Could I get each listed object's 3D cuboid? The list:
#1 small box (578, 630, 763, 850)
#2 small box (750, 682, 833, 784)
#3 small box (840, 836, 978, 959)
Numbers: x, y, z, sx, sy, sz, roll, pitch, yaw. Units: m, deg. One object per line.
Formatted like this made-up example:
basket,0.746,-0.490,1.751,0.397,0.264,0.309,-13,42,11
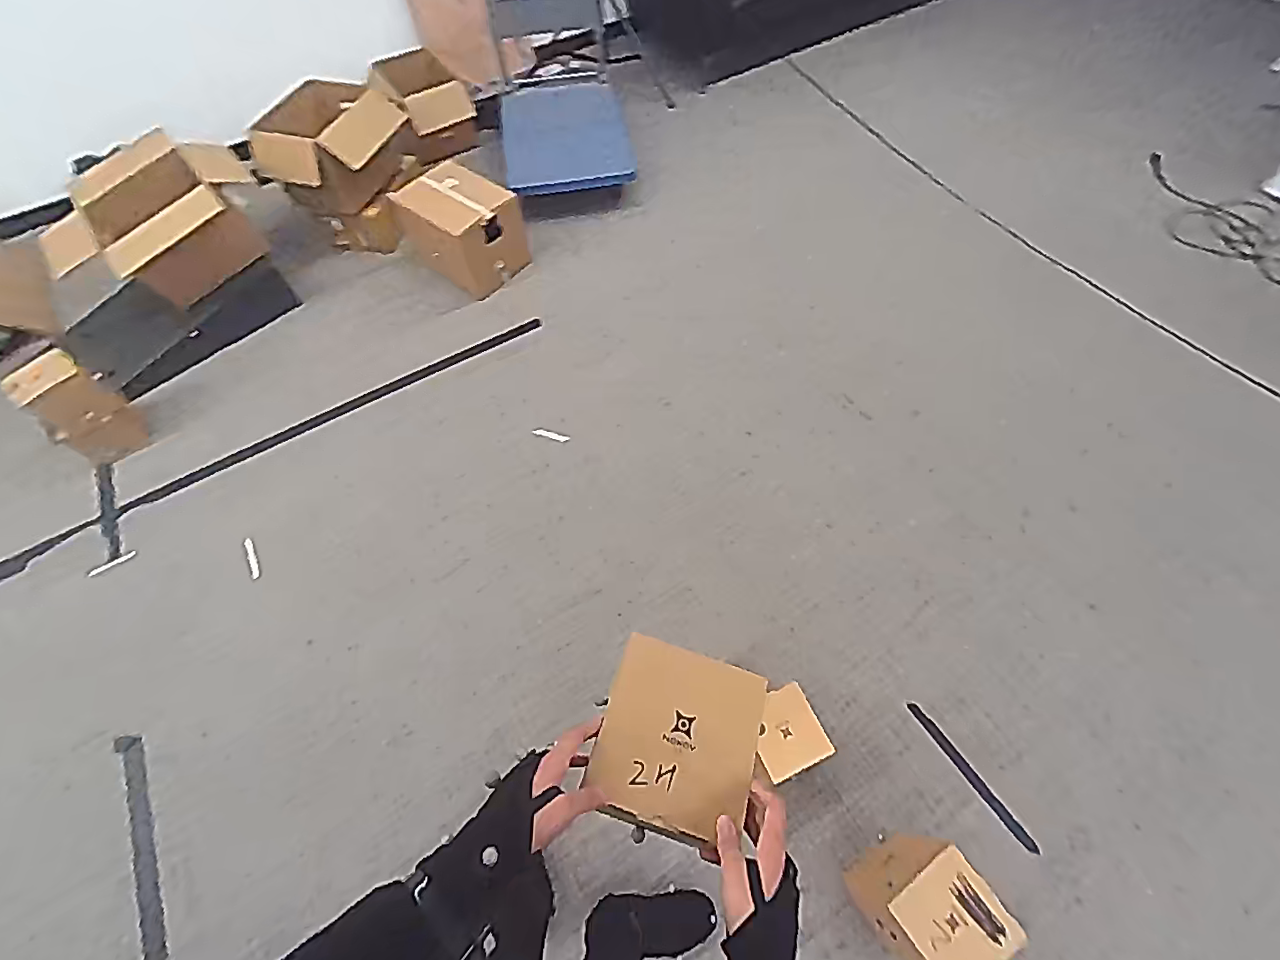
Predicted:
small box,0.029,0.309,0.642,0.168,0.176,0.179,18,57,3
small box,0.345,0.629,1.343,0.168,0.176,0.179,-22,61,-9
small box,0.569,0.908,1.173,0.168,0.176,0.179,-30,65,-14
